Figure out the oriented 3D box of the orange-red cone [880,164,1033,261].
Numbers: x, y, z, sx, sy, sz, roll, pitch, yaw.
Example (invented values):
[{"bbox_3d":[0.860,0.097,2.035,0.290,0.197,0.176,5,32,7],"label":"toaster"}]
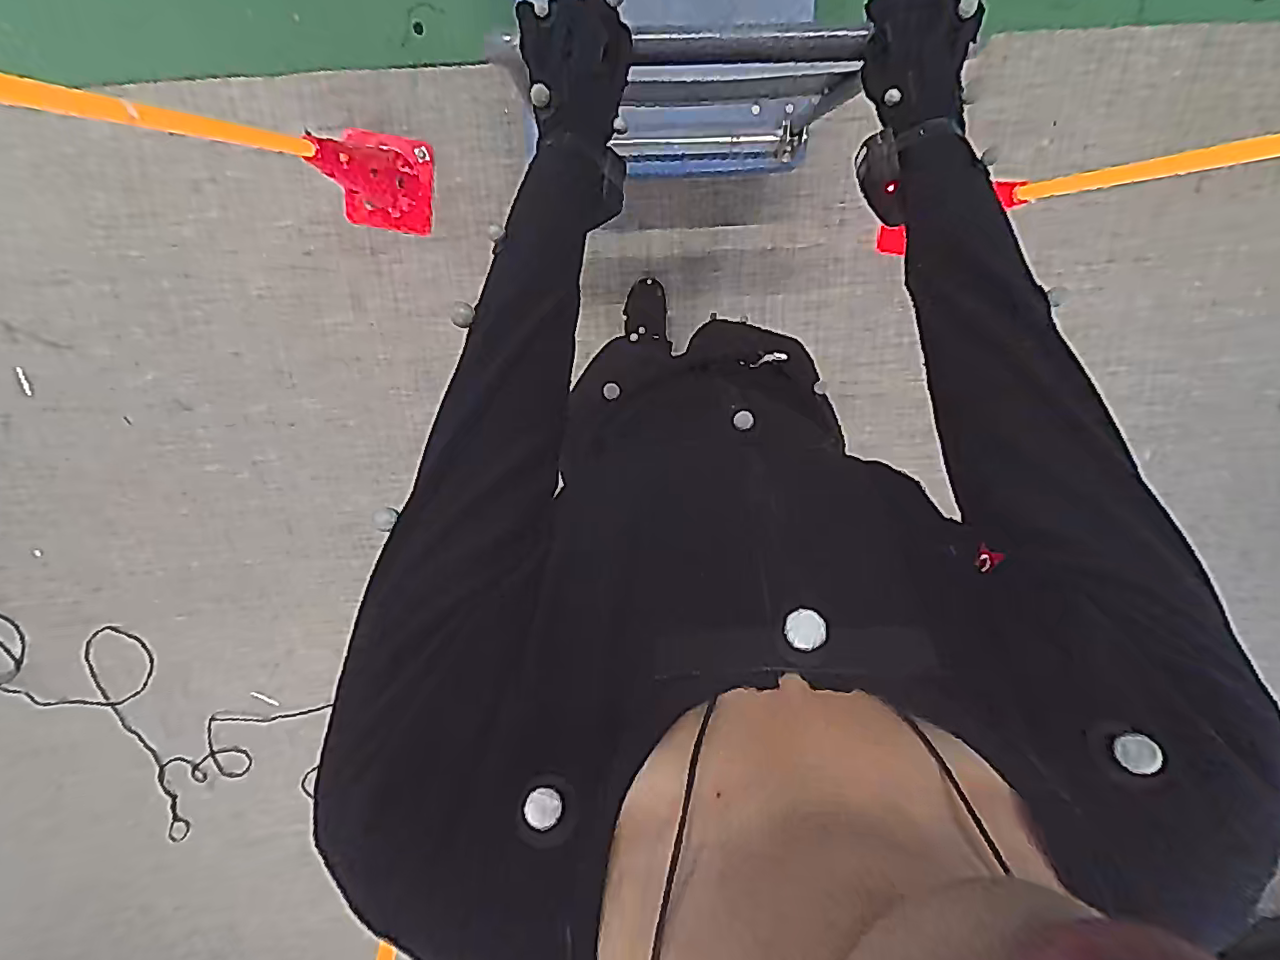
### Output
[{"bbox_3d":[0.710,-0.592,1.167,0.198,0.360,0.199,7,111,-4],"label":"orange-red cone"}]
